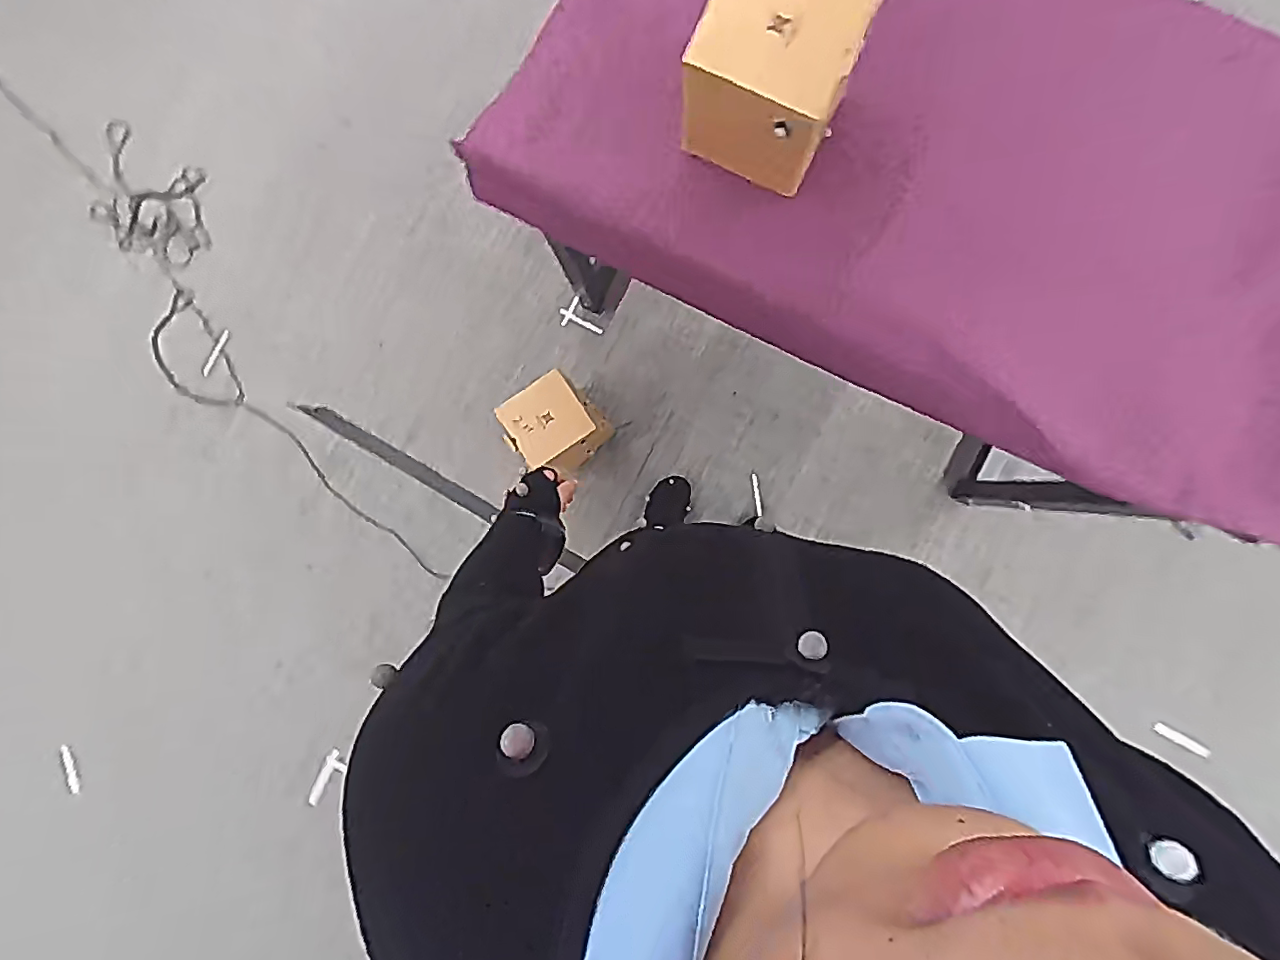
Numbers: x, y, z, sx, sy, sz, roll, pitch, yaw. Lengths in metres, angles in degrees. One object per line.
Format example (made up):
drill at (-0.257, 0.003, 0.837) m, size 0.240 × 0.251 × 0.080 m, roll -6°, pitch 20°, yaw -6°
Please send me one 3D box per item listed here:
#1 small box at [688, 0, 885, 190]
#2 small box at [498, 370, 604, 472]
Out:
small box at (0.171, -0.513, 0.692) m, size 0.179 × 0.176 × 0.168 m, roll 26°, pitch 91°, yaw 3°
small box at (-0.199, -0.133, 1.279) m, size 0.179 × 0.176 × 0.168 m, roll -33°, pitch 88°, yaw 4°
